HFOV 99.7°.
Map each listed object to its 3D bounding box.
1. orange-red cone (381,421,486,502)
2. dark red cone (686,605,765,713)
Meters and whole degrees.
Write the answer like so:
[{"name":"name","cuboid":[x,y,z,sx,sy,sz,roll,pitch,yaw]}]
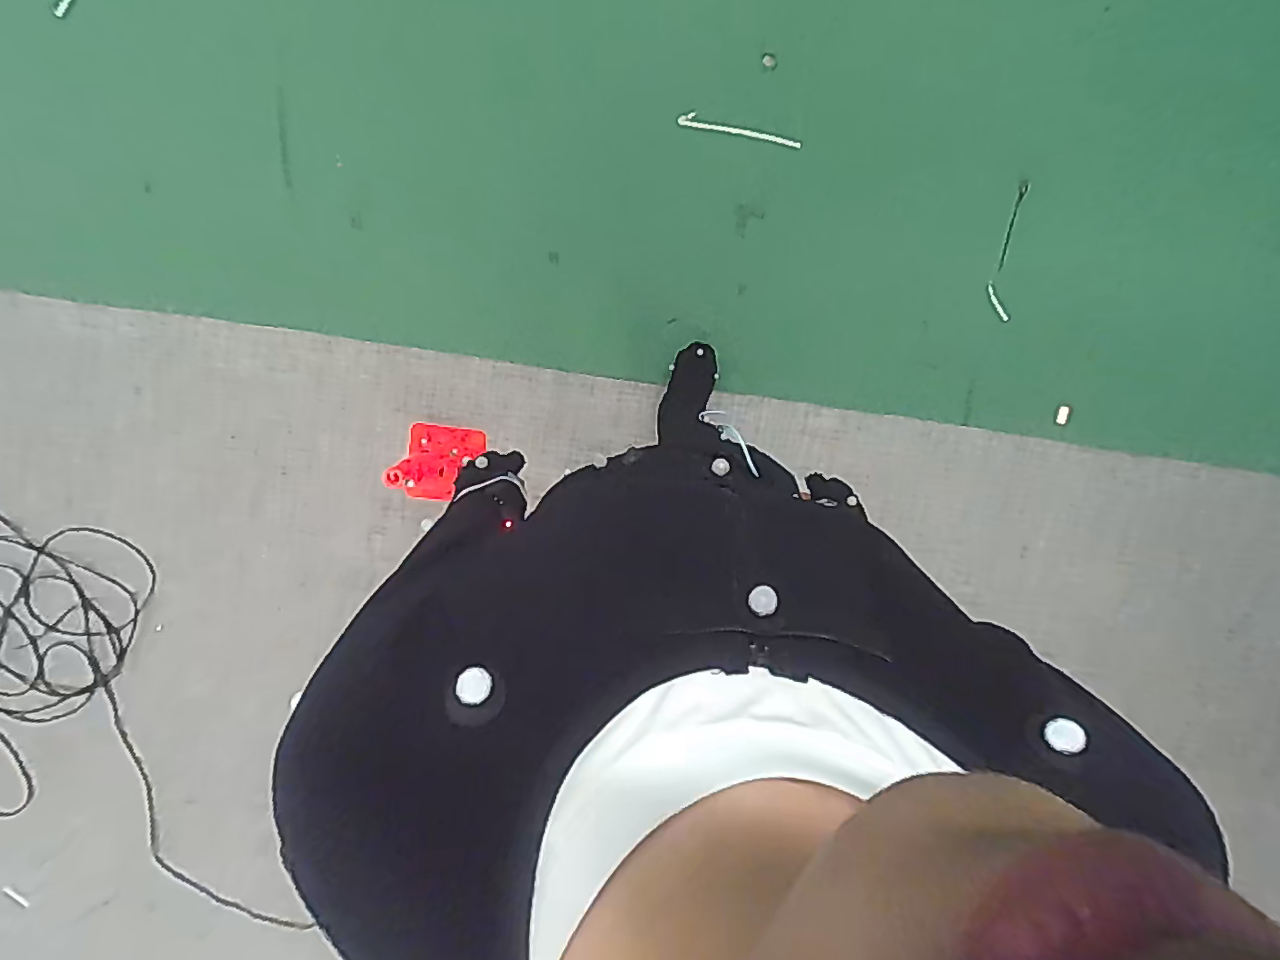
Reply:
[{"name":"orange-red cone","cuboid":[-0.506,-0.026,1.259,0.198,0.360,0.199,8,97,-3]},{"name":"dark red cone","cuboid":[0.240,0.460,1.334,0.202,0.394,0.201,2,95,-3]}]
